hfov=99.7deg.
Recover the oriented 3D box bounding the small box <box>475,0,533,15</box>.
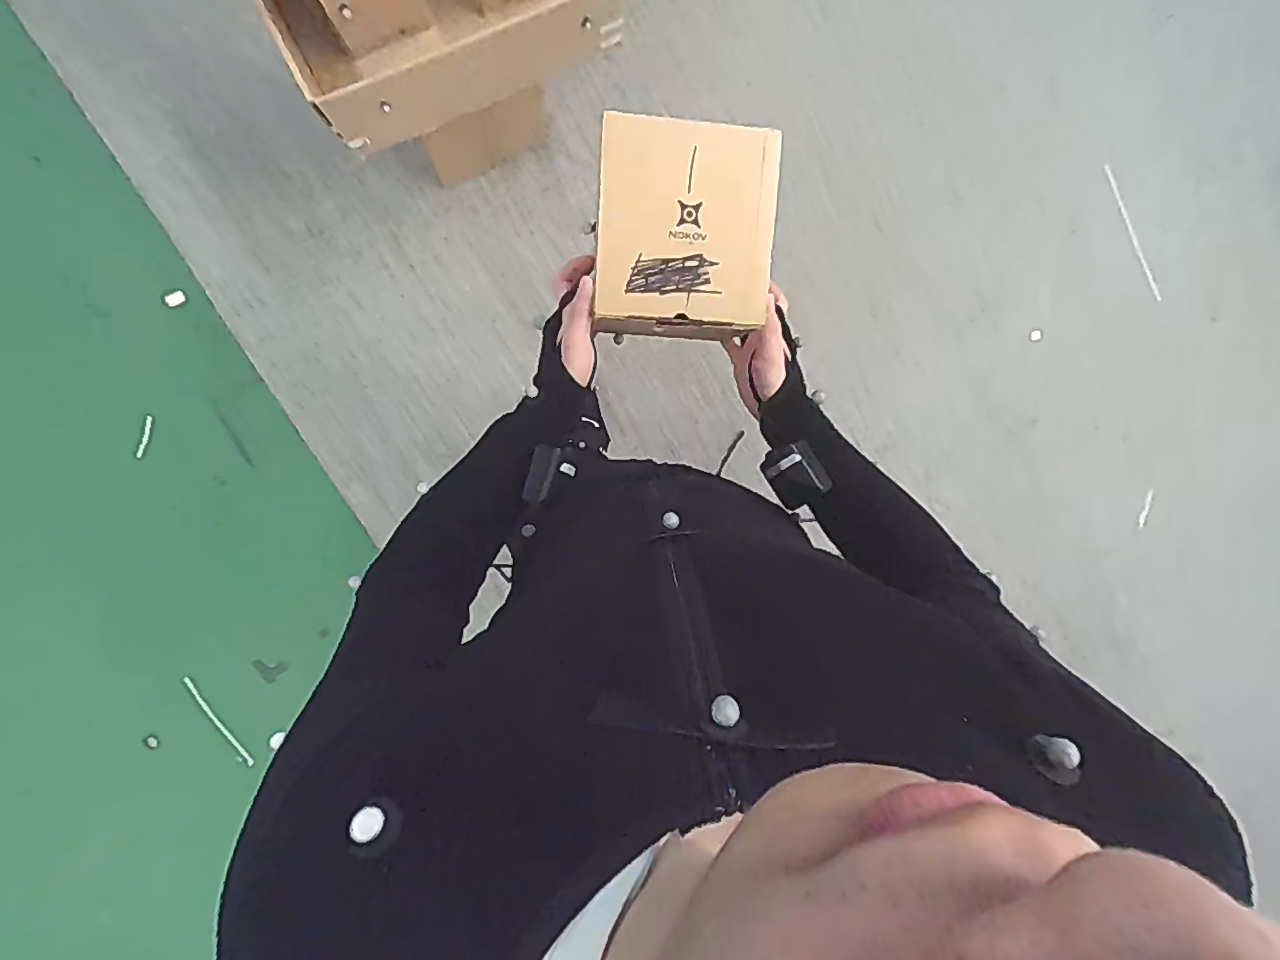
[{"bbox_3d":[-0.255,-0.998,0.962,0.168,0.176,0.179,-25,100,-4],"label":"small box"}]

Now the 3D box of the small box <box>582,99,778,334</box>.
[{"bbox_3d":[0.028,-0.250,0.559,0.168,0.176,0.179,2,99,-6],"label":"small box"}]
